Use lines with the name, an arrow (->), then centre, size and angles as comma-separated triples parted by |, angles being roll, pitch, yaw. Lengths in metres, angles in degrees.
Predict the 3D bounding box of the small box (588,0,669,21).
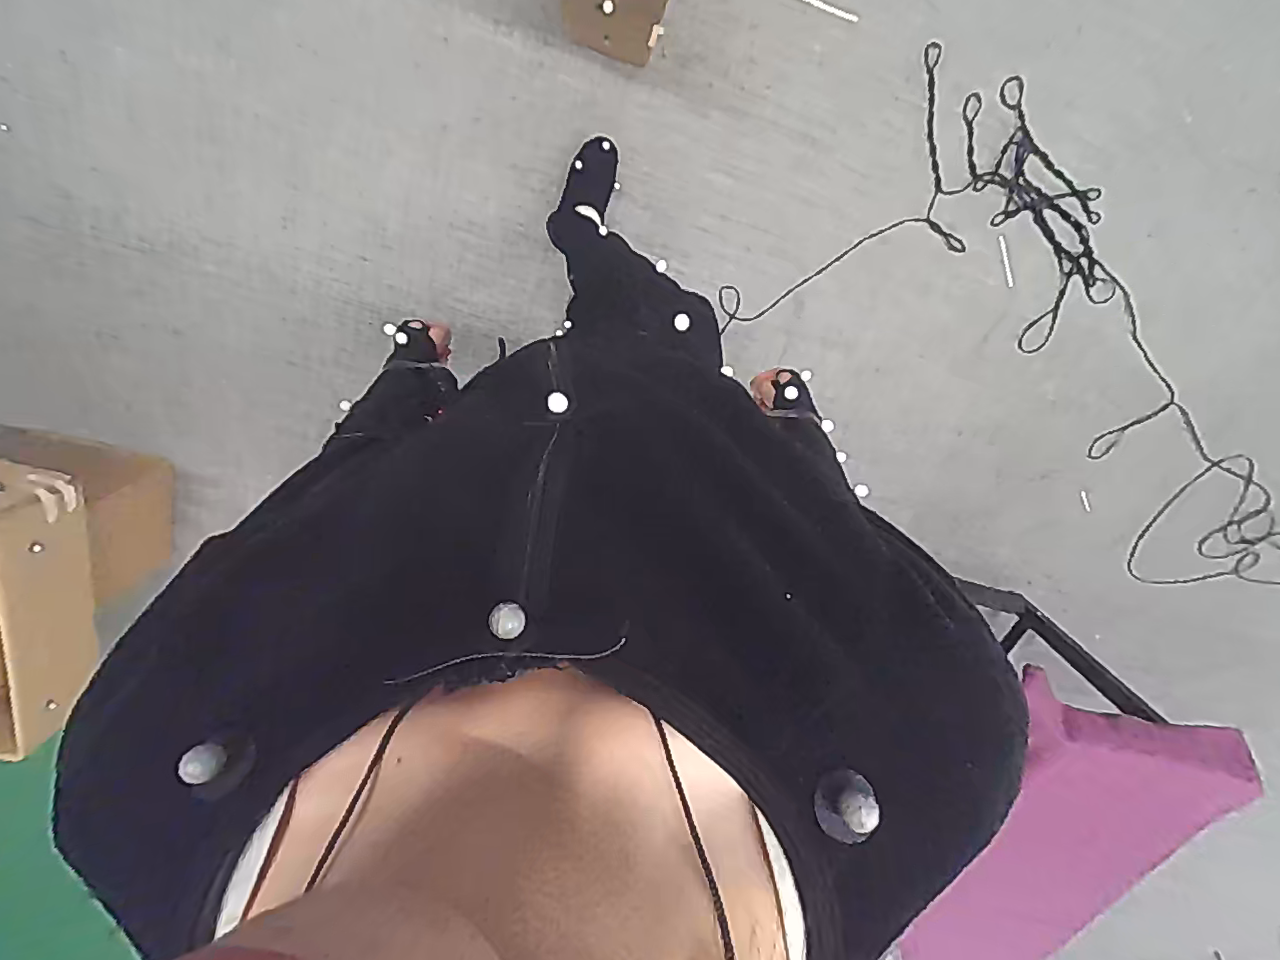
small box -> -0.021, -0.794, 0.765 | 0.179, 0.176, 0.168 | 12, 113, -11

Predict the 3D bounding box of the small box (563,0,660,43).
small box -> -0.033, -0.877, 0.906 | 0.179, 0.176, 0.168 | 14, 114, -11

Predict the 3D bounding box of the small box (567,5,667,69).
small box -> -0.036, -0.943, 1.057 | 0.179, 0.176, 0.168 | 14, 113, -11

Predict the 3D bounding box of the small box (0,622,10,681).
small box -> -1.424, 0.364, 1.071 | 0.168, 0.176, 0.179 | 17, 112, -13
